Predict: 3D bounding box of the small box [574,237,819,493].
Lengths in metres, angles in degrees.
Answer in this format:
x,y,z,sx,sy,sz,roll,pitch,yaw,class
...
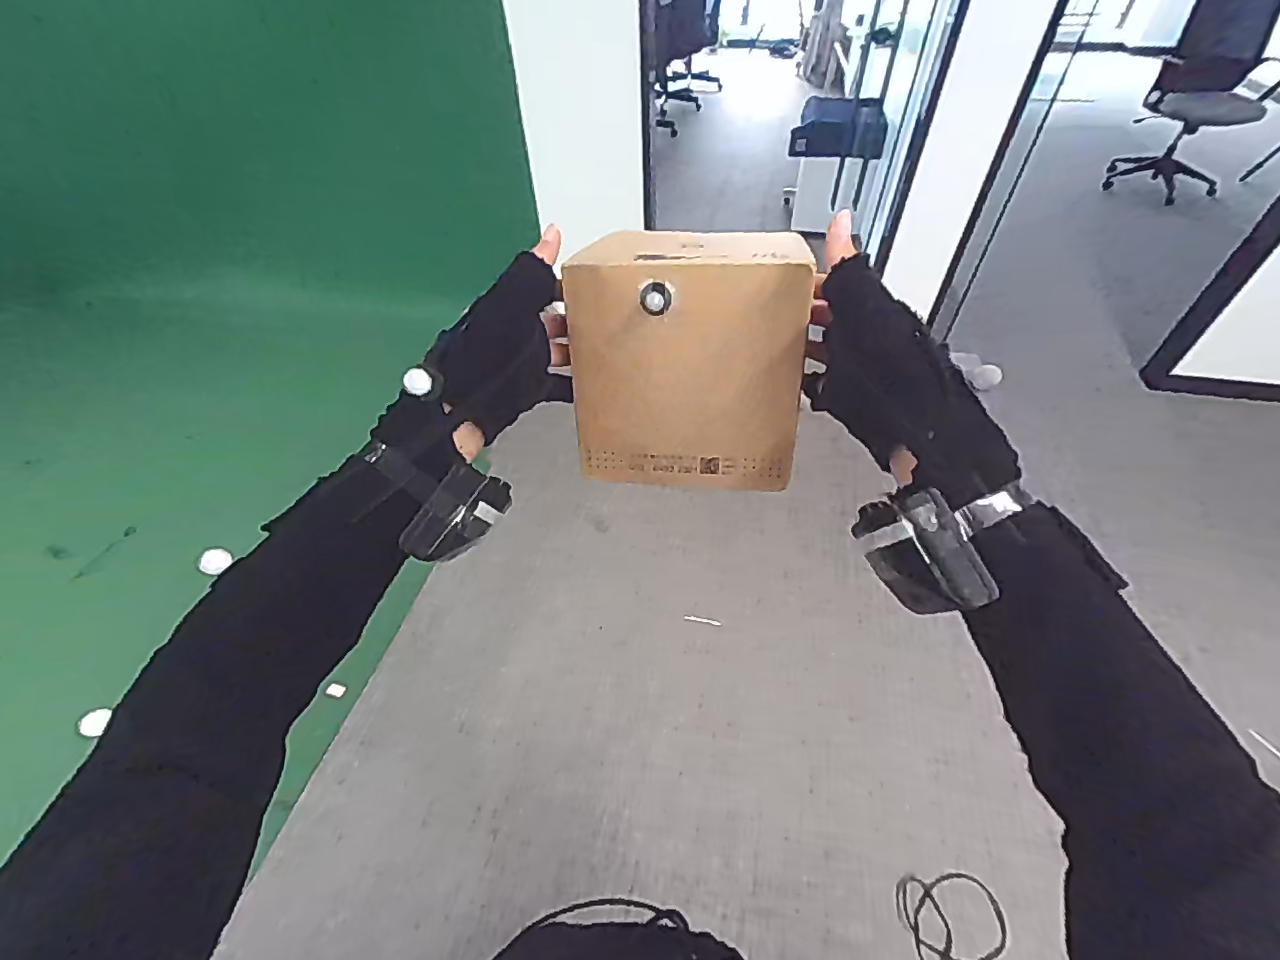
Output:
x,y,z,sx,sy,sz,roll,pitch,yaw,class
0.050,-0.108,0.462,0.168,0.176,0.179,3,30,10,small box
